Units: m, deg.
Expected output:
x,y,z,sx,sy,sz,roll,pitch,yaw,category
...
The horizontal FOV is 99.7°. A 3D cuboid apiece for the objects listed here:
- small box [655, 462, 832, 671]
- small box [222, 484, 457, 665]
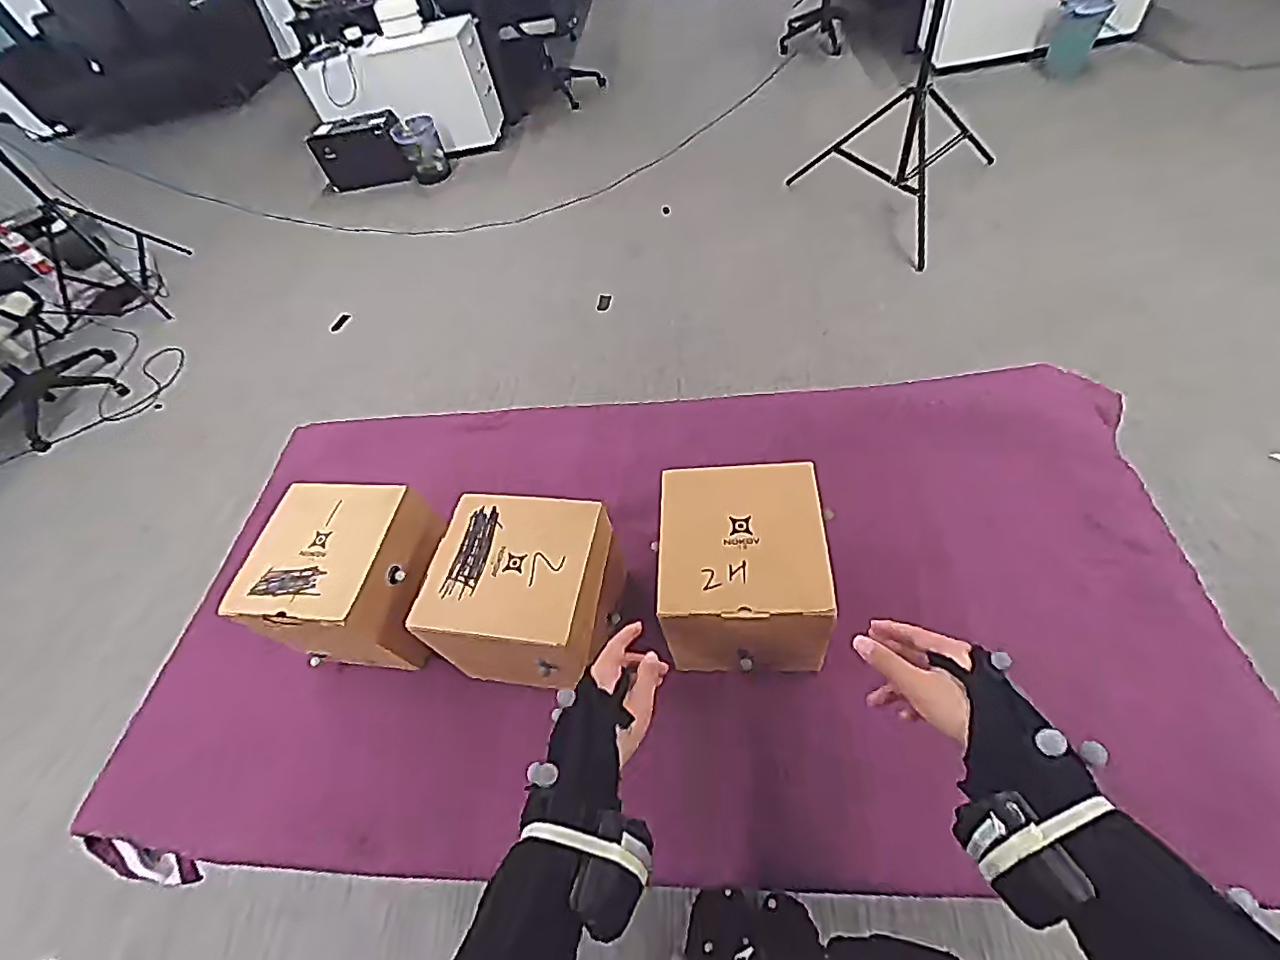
x,y,z,sx,sy,sz,roll,pitch,yaw,category
0.112,0.101,0.613,0.168,0.176,0.179,-3,53,10,small box
-0.359,0.124,0.690,0.168,0.176,0.179,1,54,12,small box
